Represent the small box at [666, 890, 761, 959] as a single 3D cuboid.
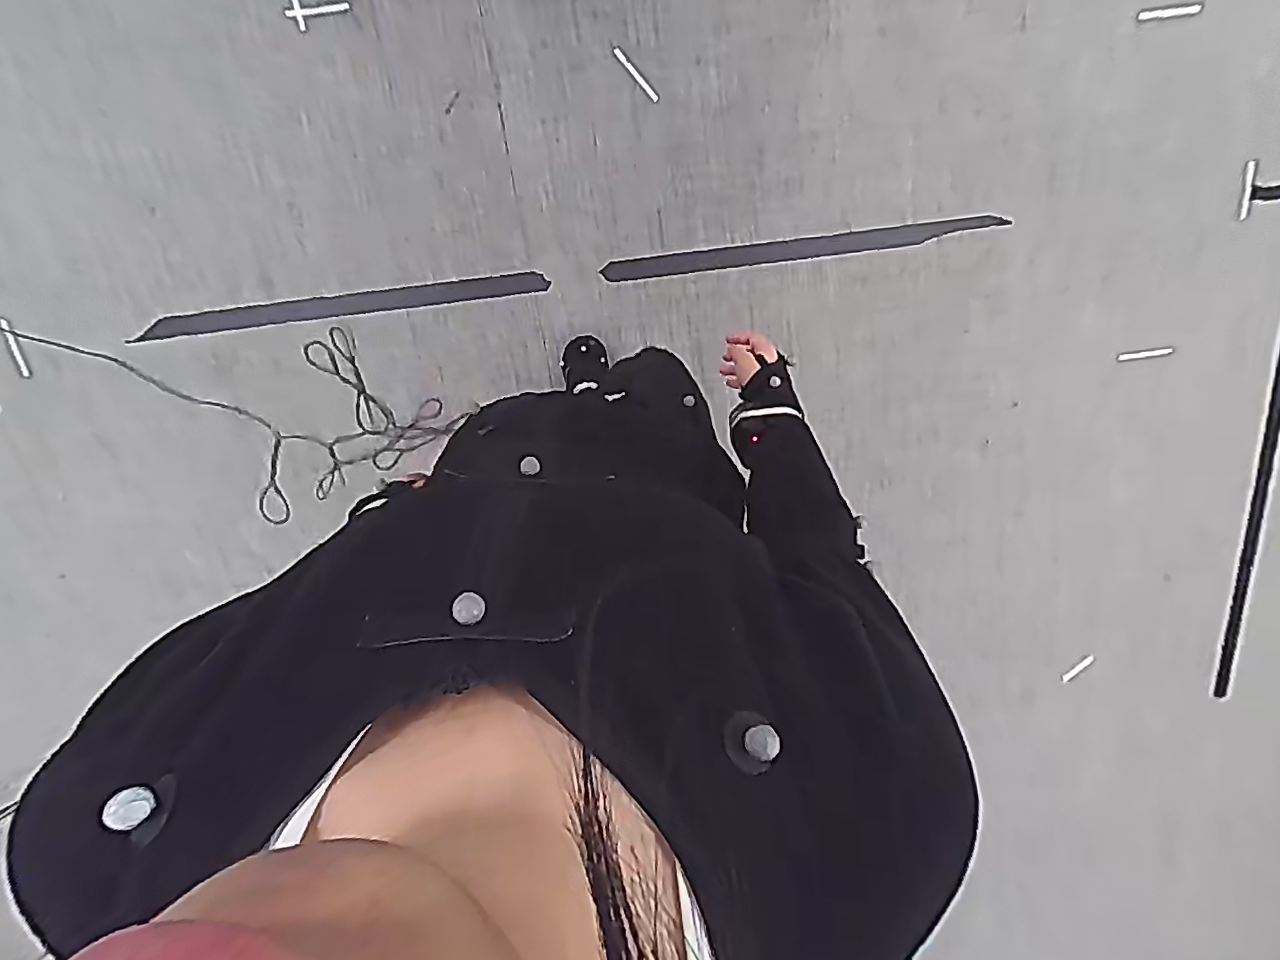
[{"bbox_3d":[0.145,0.971,1.095,0.168,0.176,0.179,-4,106,-3],"label":"small box"}]
